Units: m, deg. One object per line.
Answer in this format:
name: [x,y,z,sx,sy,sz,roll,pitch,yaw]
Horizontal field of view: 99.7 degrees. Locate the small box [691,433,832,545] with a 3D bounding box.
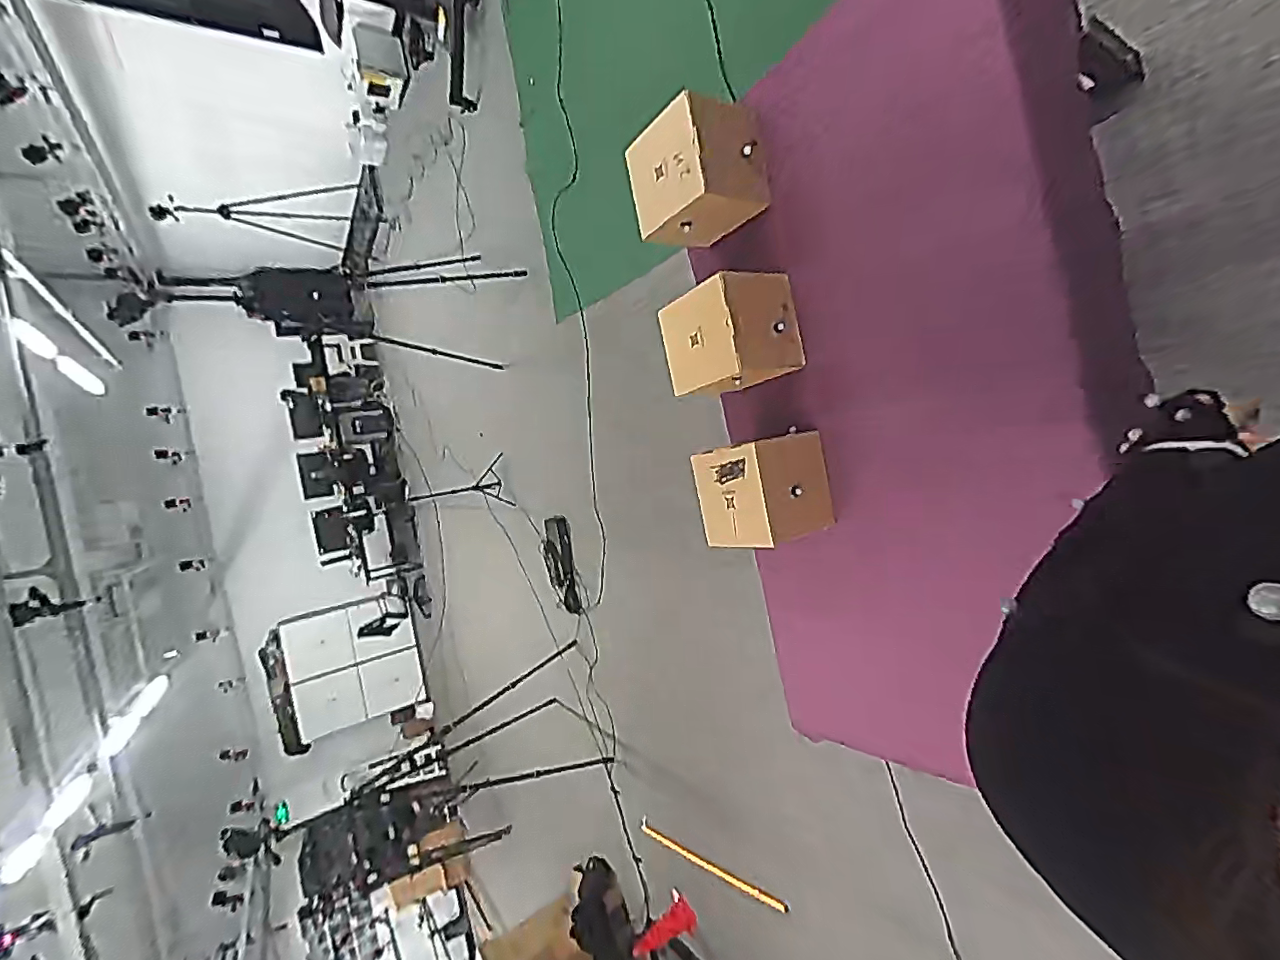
small box: [0.222,0.013,0.986,0.168,0.176,0.179,-9,94,56]

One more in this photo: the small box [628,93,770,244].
small box: [0.105,-0.546,0.978,0.179,0.176,0.168,-8,94,53]

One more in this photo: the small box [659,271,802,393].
small box: [0.164,-0.263,0.990,0.179,0.176,0.168,-12,90,55]
